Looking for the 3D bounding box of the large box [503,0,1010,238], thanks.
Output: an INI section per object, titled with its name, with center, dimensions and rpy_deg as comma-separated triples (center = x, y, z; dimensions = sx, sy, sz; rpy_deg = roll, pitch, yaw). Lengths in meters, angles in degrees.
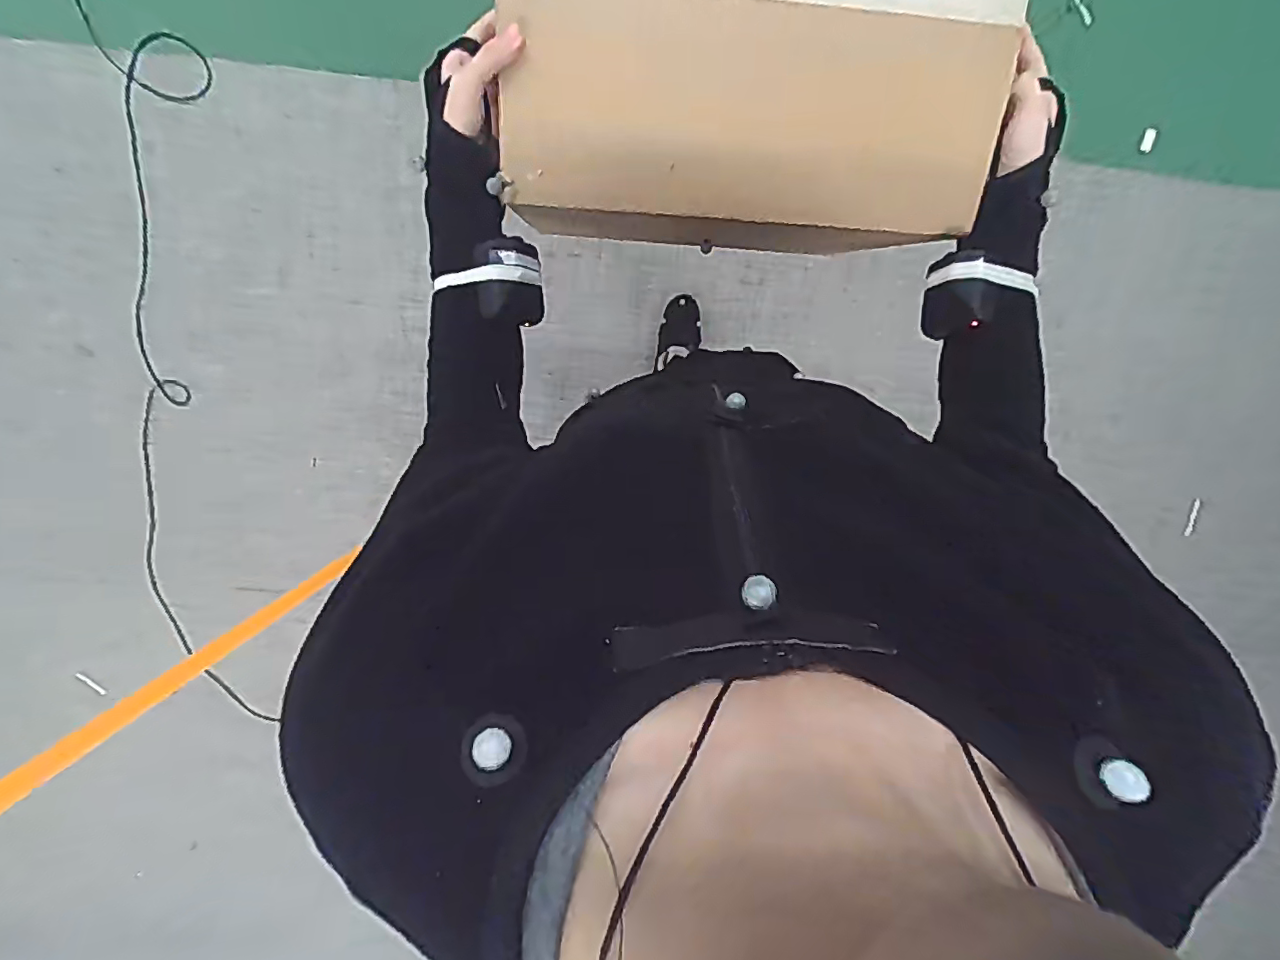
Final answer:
[large box]
center = 0.087, -0.428, 0.553
dimensions = 0.408, 0.320, 0.320
rpy_deg = 1, 110, -4
